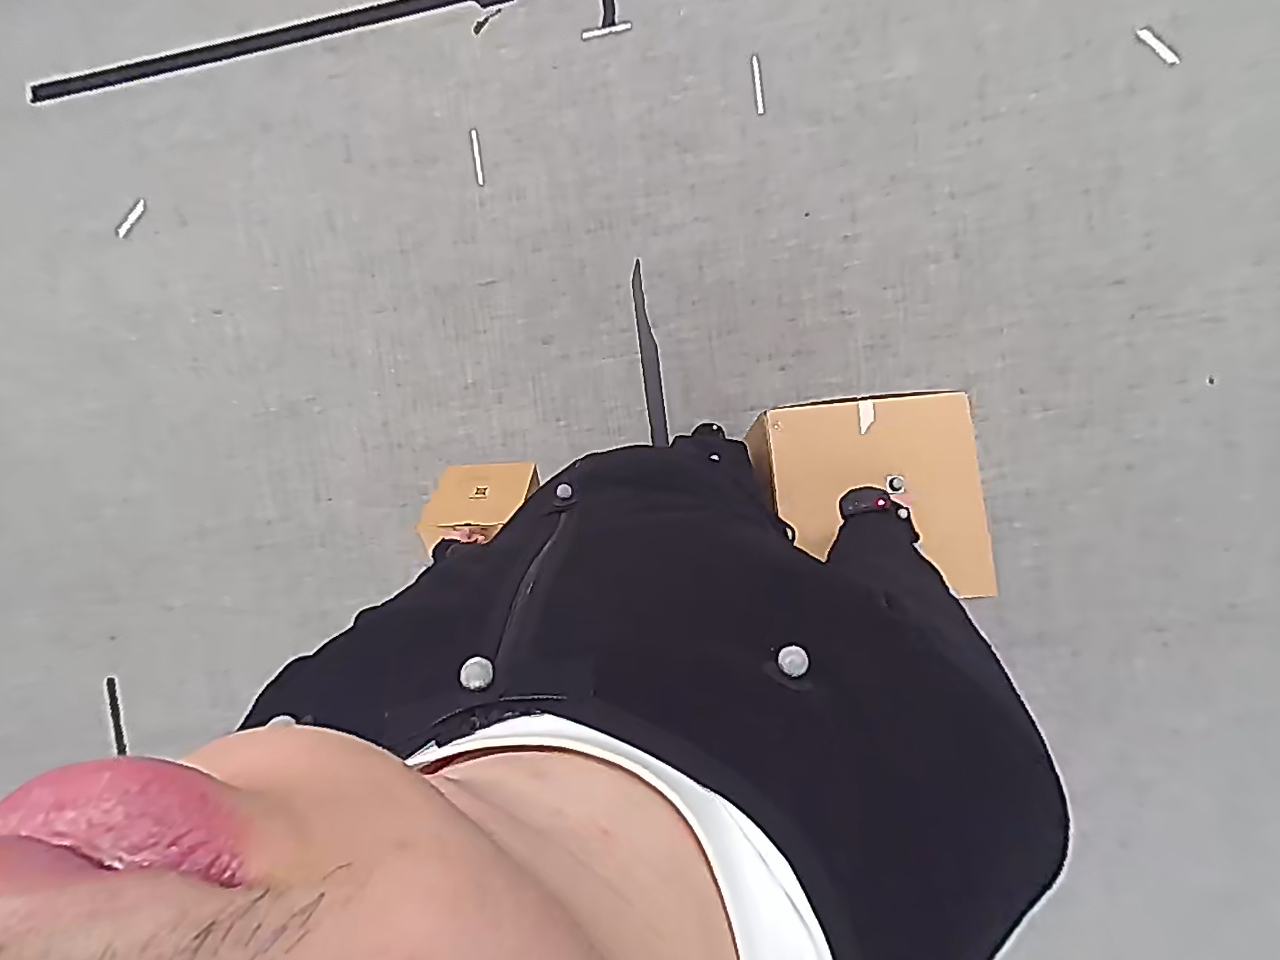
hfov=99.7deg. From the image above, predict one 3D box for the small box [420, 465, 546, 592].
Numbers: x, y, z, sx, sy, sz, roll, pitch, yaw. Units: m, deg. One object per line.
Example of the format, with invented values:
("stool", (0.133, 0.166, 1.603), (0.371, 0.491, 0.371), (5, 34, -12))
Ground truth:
("small box", (-0.274, 0.091, 0.991), (0.168, 0.179, 0.176), (-1, 126, 2))
